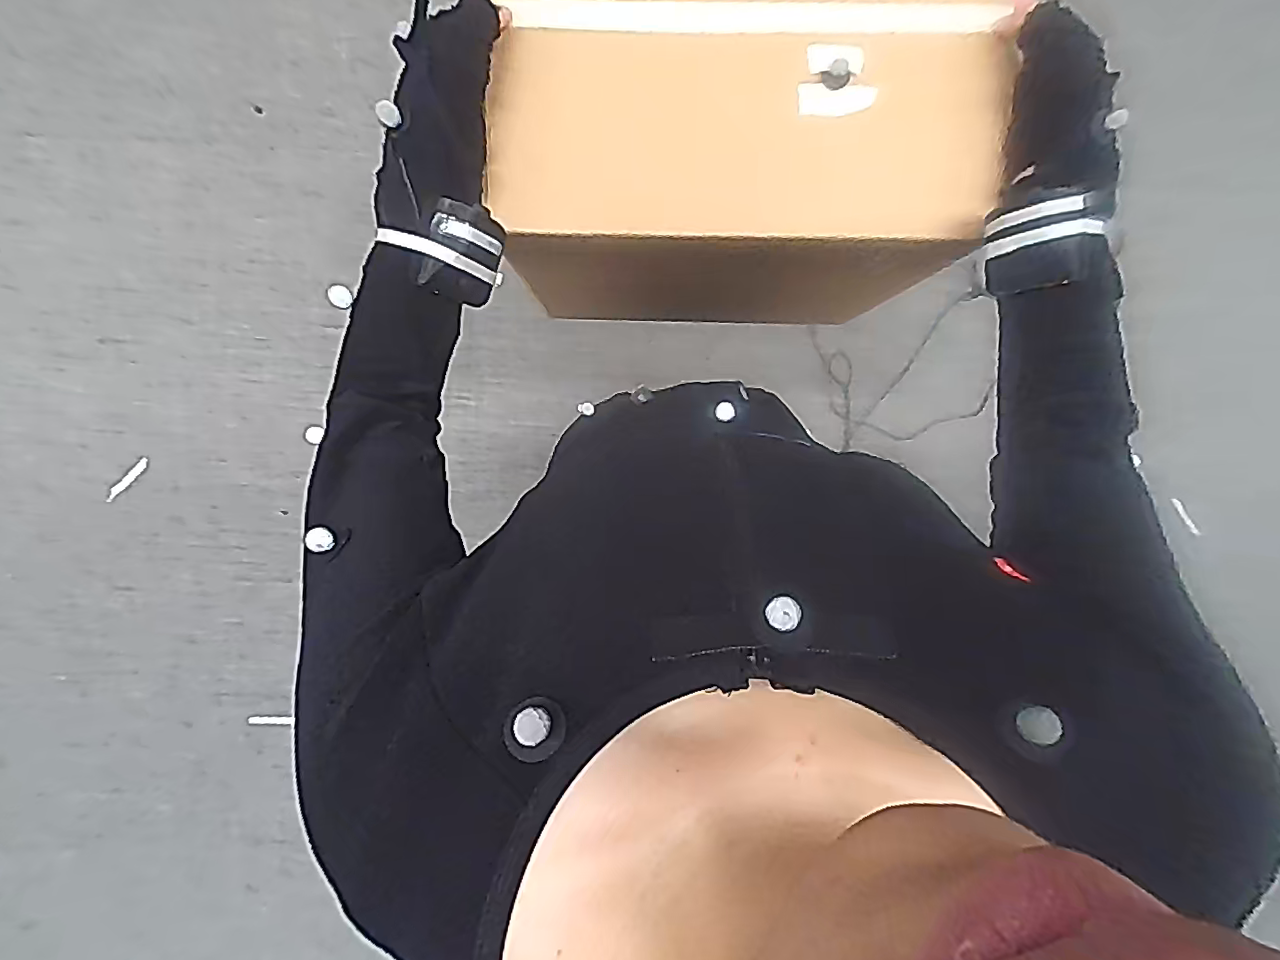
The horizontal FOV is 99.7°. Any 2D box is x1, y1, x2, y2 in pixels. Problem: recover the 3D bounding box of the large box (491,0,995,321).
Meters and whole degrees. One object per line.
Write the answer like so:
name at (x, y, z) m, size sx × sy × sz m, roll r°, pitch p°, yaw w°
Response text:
large box at (0.078, -0.362, 0.575) m, size 0.408 × 0.320 × 0.320 m, roll 0°, pitch 94°, yaw -1°
